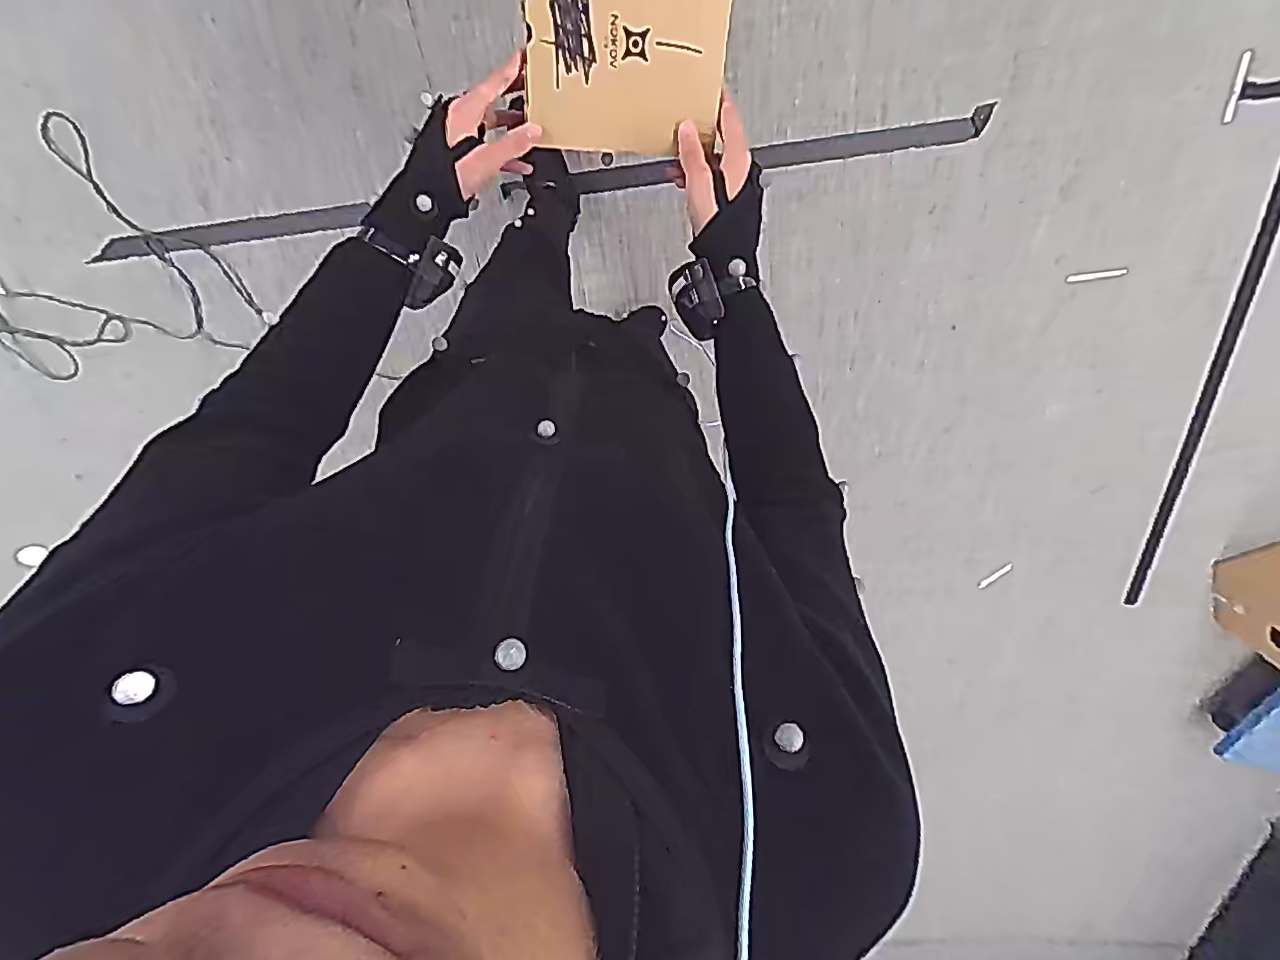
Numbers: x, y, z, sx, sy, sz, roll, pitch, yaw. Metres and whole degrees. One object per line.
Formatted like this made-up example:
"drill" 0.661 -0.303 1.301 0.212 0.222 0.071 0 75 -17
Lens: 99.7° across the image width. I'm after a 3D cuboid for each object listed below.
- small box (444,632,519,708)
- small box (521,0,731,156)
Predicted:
"small box" -0.507 0.613 1.754 0.179 0.176 0.168 -5 116 3
"small box" -0.016 -0.418 0.523 0.179 0.176 0.168 2 123 -5
